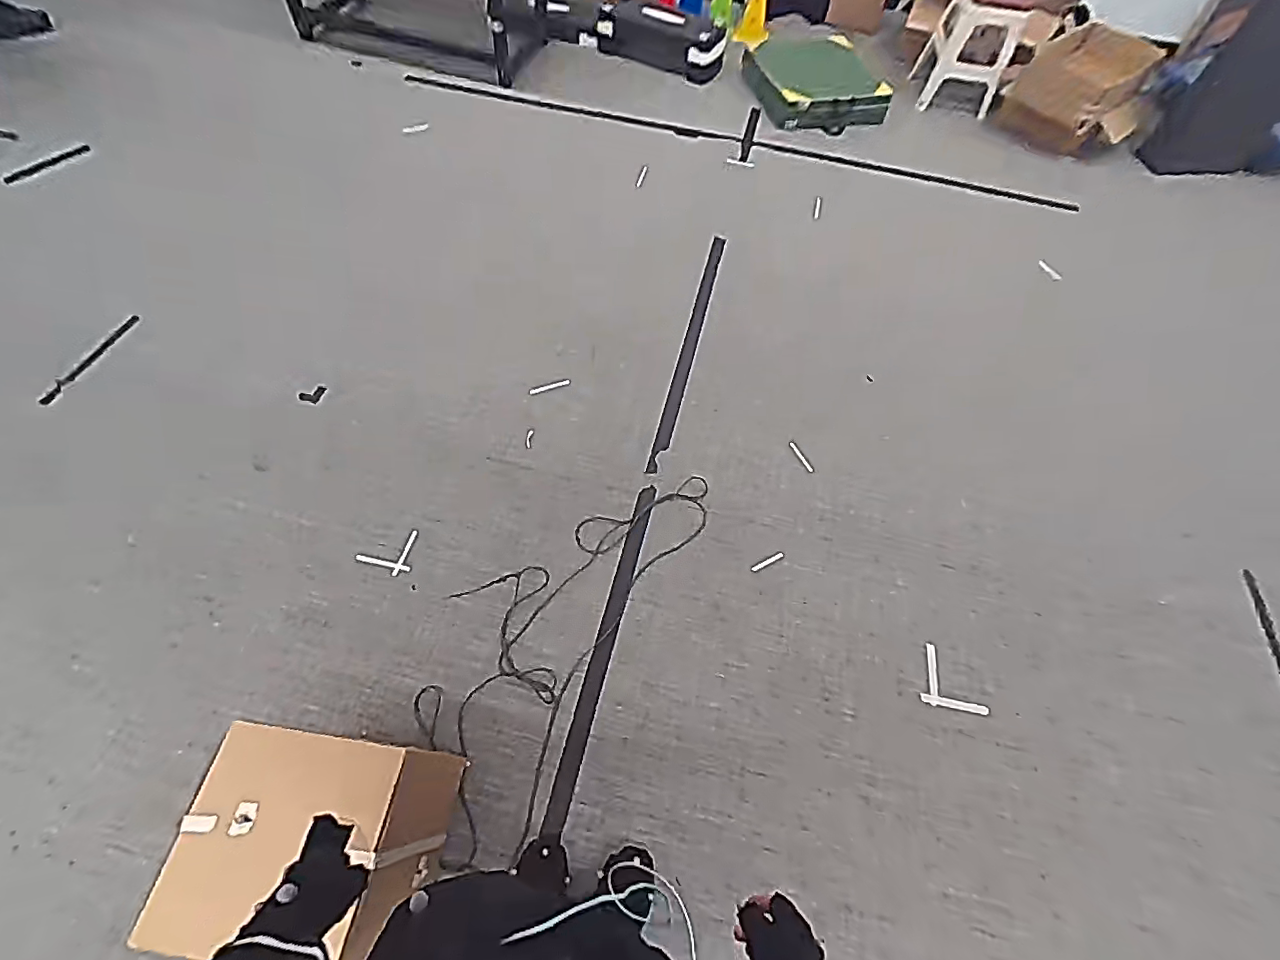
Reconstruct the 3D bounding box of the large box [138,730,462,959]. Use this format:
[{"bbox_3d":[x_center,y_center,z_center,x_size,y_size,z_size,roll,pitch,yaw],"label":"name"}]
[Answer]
[{"bbox_3d":[-0.578,0.670,1.023,0.320,0.408,0.320,9,61,3],"label":"large box"}]
